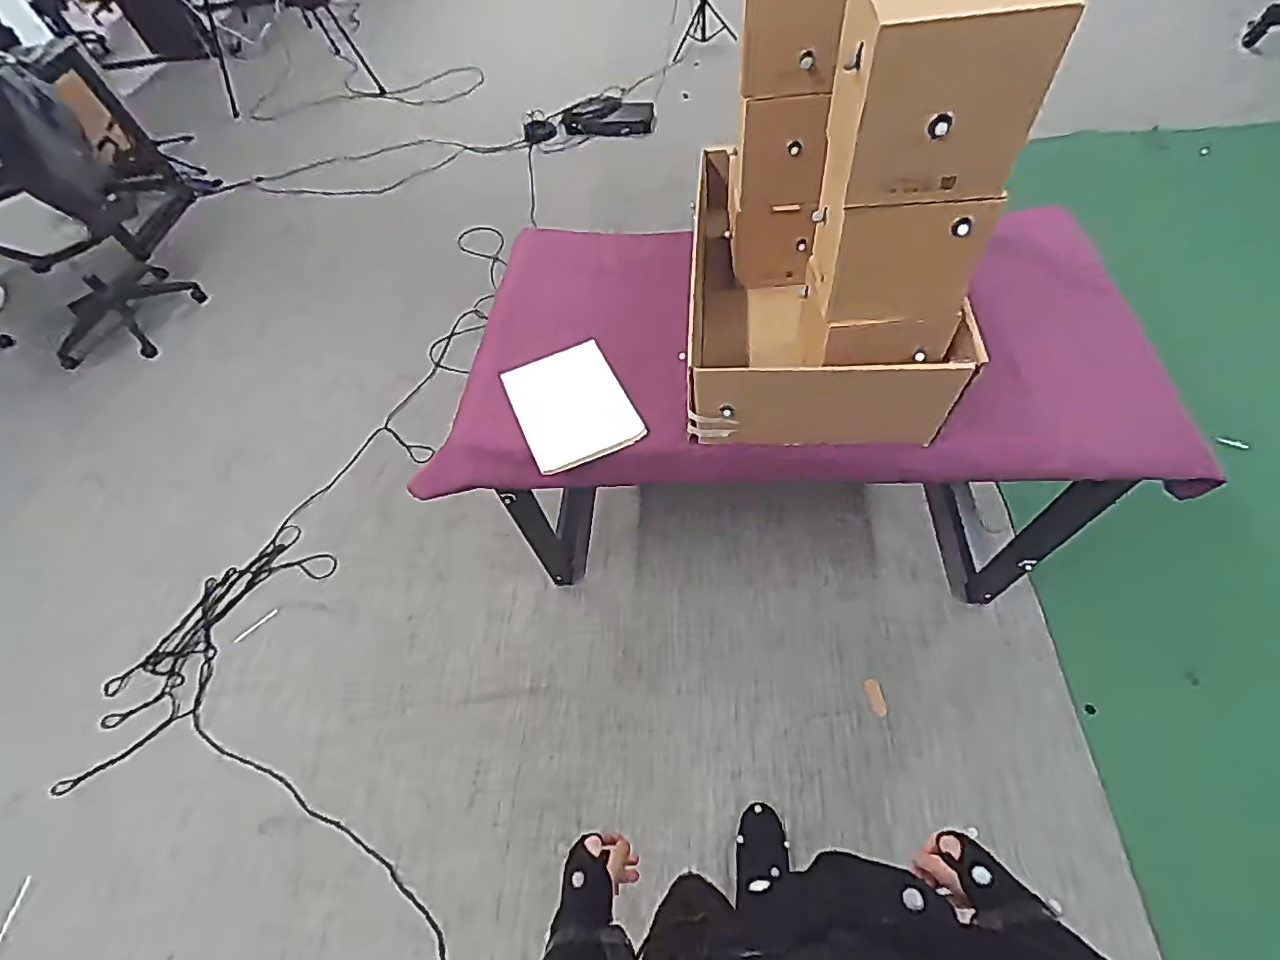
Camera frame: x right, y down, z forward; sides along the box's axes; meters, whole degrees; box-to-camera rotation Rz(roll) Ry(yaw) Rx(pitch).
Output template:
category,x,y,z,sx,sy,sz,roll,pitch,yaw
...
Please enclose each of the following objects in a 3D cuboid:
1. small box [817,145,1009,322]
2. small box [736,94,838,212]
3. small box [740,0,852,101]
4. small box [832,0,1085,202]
category,x,y,z,sx,sy,sz,roll,pitch,yaw
small box,0.334,-0.323,0.708,0.179,0.176,0.168,1,56,8
small box,0.252,-0.563,0.878,0.179,0.176,0.168,-1,58,6
small box,0.233,-0.652,0.742,0.179,0.176,0.168,1,58,7
small box,0.309,-0.415,0.573,0.168,0.176,0.179,1,56,8
